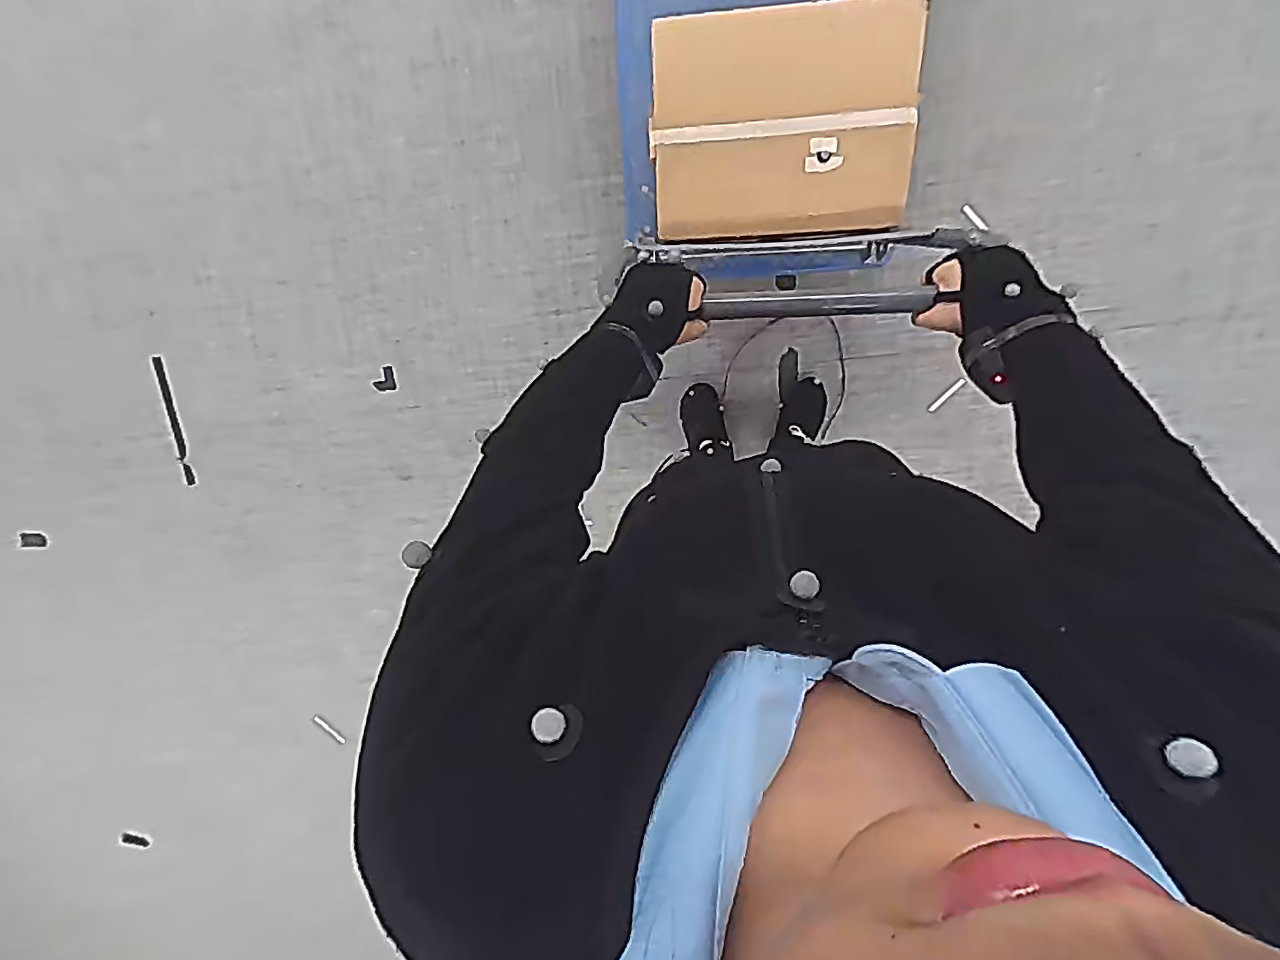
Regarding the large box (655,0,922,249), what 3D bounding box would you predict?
[{"bbox_3d":[0.243,-0.620,1.010,0.408,0.320,0.320,-1,111,6],"label":"large box"}]
